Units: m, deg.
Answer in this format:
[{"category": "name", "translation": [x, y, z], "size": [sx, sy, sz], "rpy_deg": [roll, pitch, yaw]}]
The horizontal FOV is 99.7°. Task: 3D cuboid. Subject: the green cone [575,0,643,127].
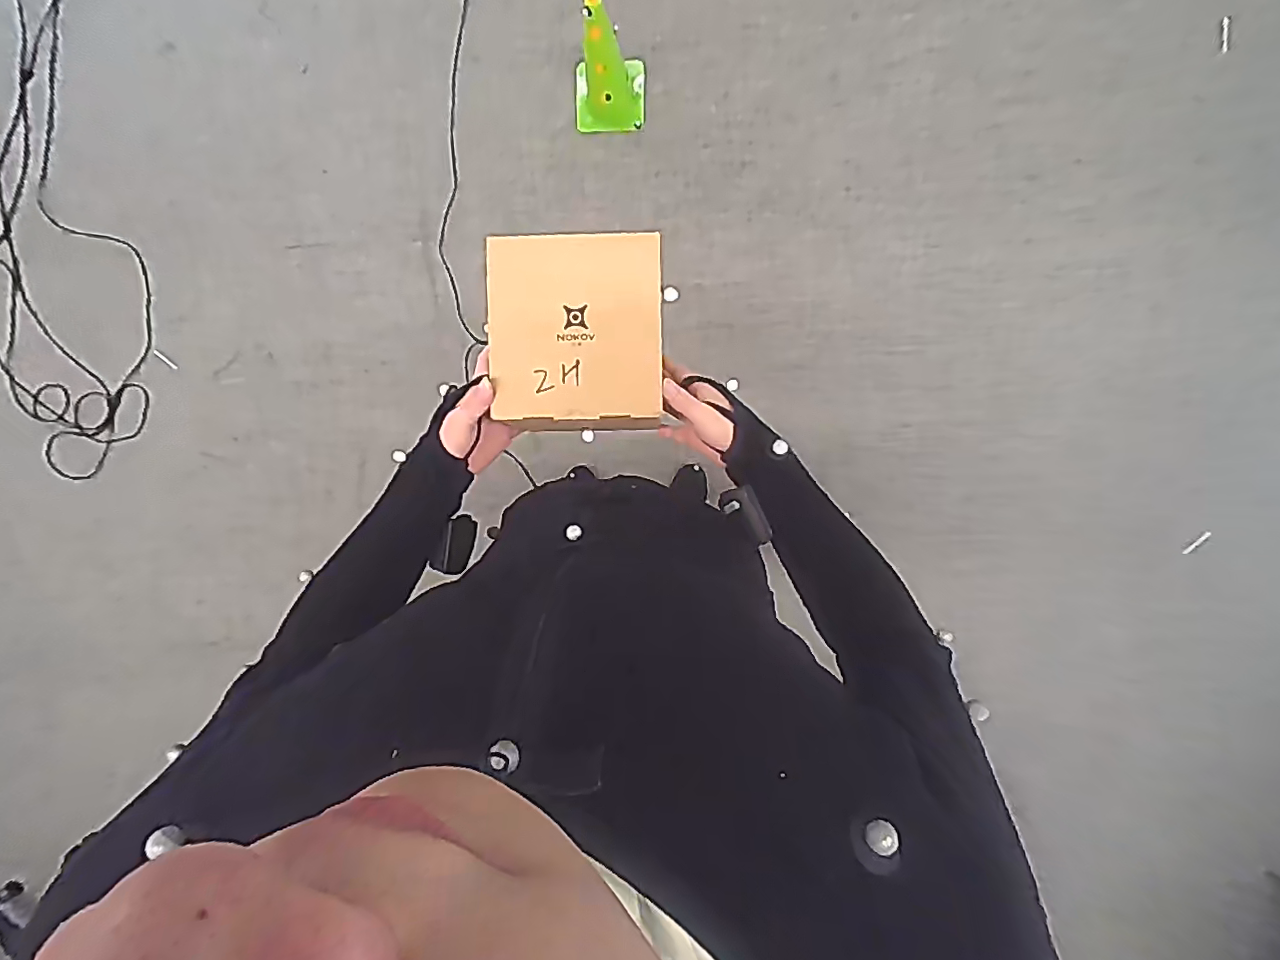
[{"category": "green cone", "translation": [-0.105, -1.136, 1.414], "size": [0.202, 0.368, 0.200], "rpy_deg": [0, 92, 4]}]
